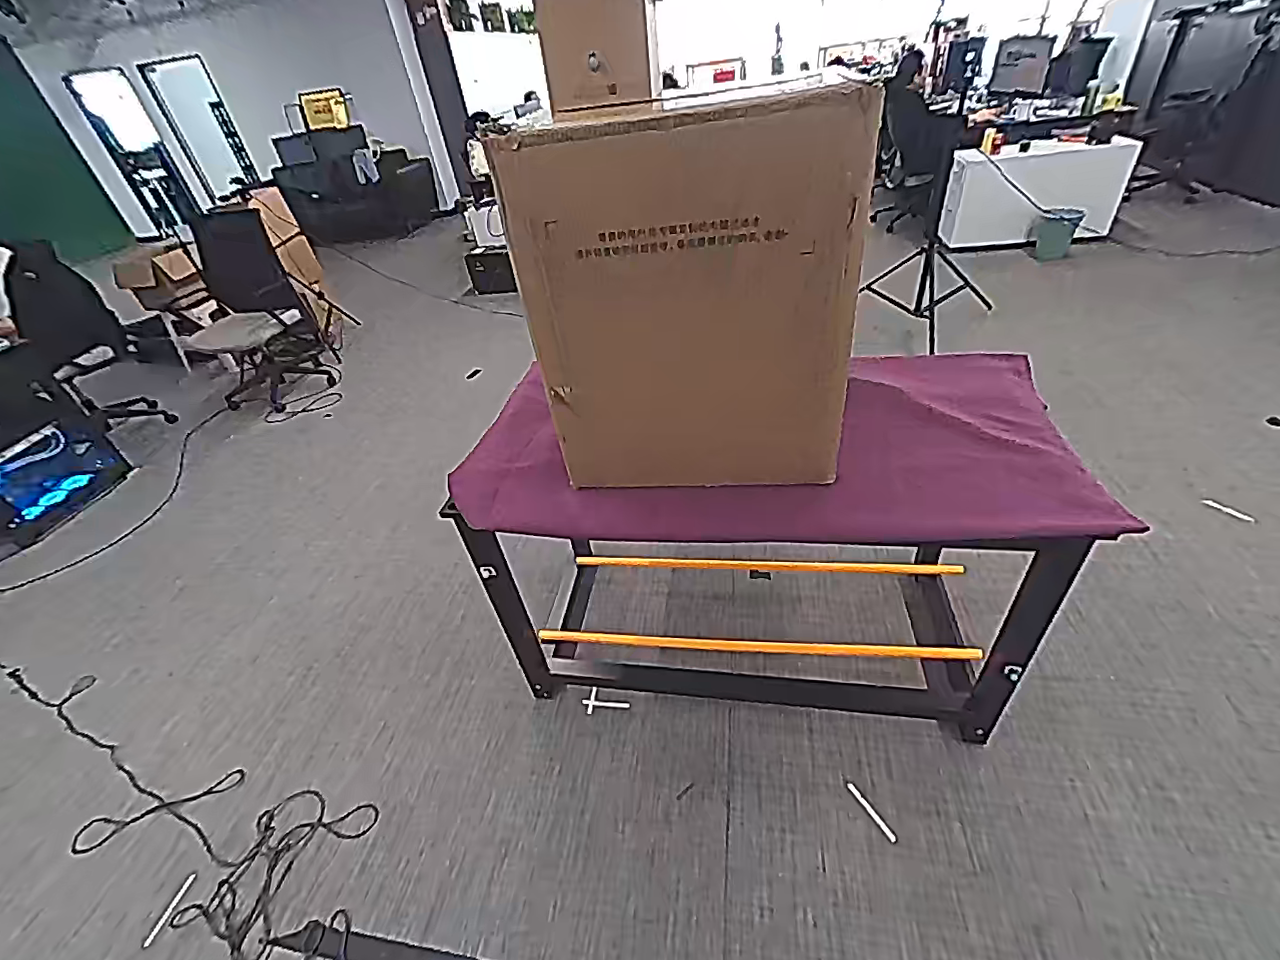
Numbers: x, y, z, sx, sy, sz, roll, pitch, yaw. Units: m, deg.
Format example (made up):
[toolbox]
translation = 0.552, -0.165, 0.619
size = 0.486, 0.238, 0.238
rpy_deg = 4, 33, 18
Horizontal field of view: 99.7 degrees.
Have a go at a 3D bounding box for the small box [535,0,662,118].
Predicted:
[small box]
translation = -0.058, -0.699, 0.877
size = 0.168, 0.176, 0.179
rpy_deg = -1, 39, 10
